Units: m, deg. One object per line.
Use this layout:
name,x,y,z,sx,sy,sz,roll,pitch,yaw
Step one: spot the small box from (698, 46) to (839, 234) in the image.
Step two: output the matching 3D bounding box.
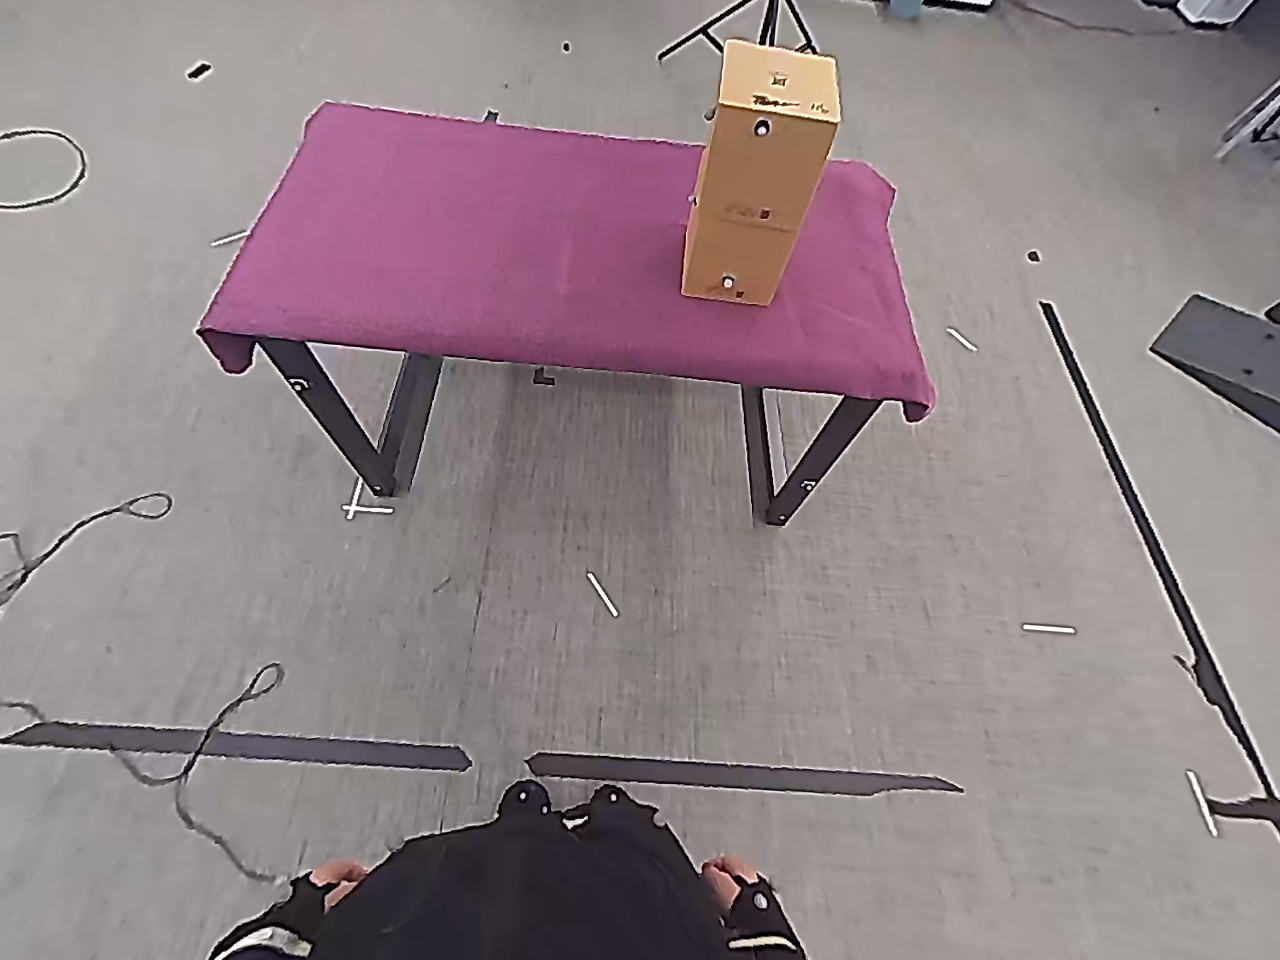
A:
small box,0.185,-0.511,0.822,0.168,0.176,0.179,9,61,0

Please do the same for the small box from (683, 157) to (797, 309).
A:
small box,0.171,-0.438,0.968,0.168,0.176,0.179,7,62,-2
